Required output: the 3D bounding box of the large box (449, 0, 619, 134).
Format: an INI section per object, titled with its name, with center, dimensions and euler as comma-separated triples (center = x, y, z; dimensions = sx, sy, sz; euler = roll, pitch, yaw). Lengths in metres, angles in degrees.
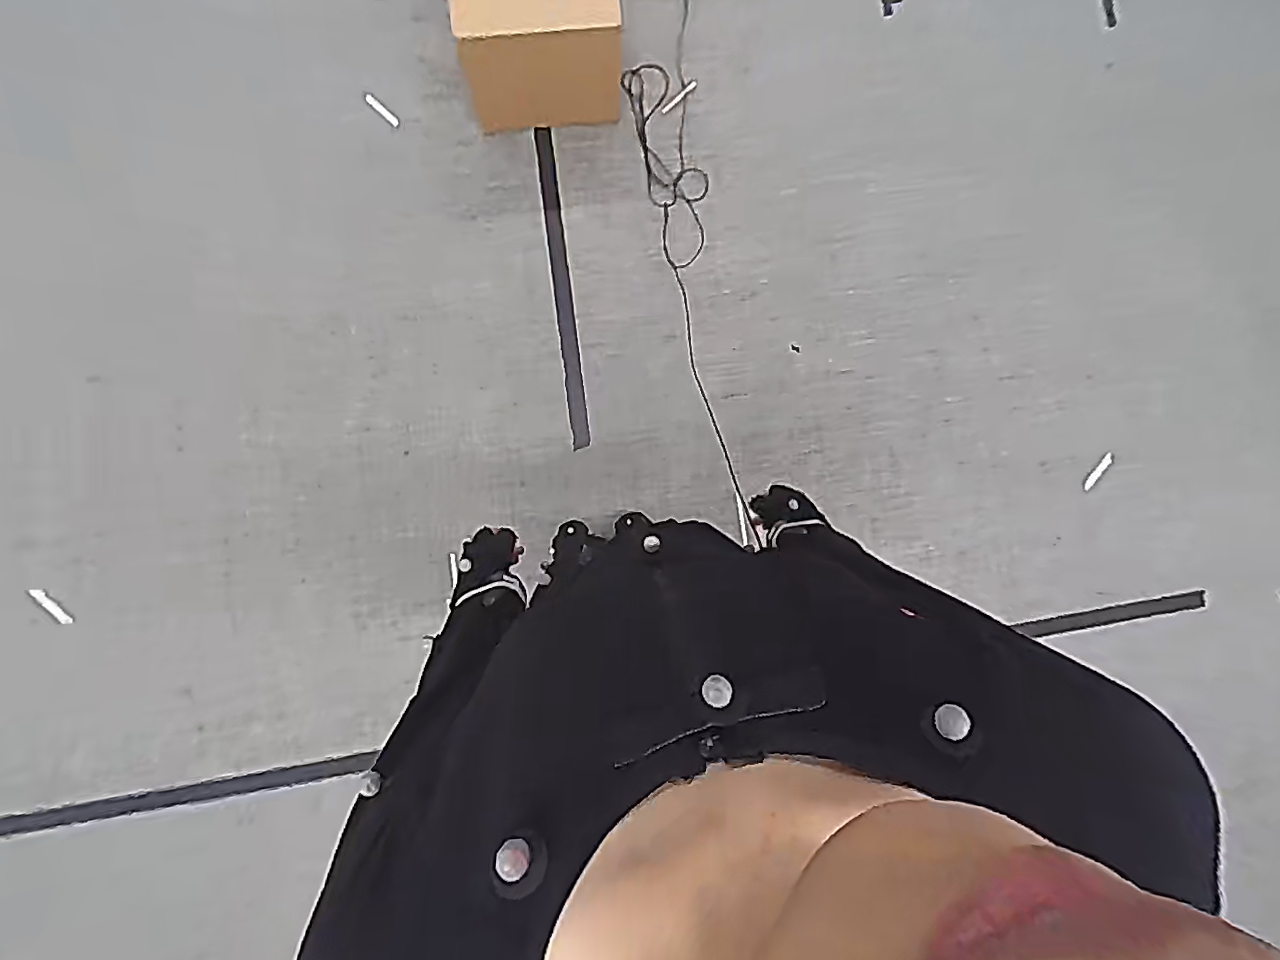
[large box]
center = -0.279, -1.194, 1.452
dimensions = 0.408, 0.320, 0.320
euler = -8, 85, -5
